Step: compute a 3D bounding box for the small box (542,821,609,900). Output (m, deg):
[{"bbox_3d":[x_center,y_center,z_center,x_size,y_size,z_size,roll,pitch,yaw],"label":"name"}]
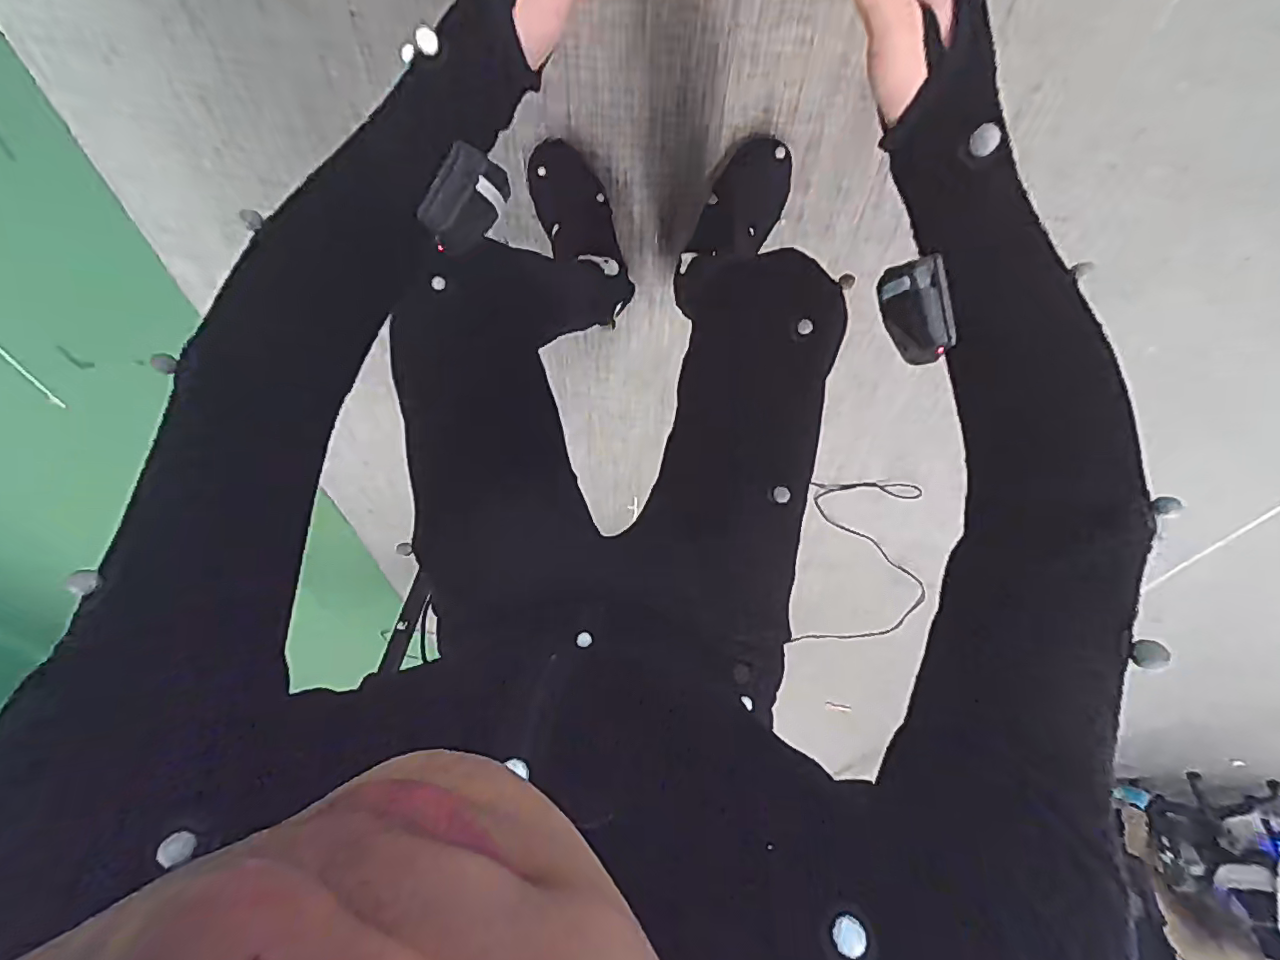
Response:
[{"bbox_3d":[-0.187,1.145,1.627,0.168,0.176,0.179,5,141,4],"label":"small box"}]
